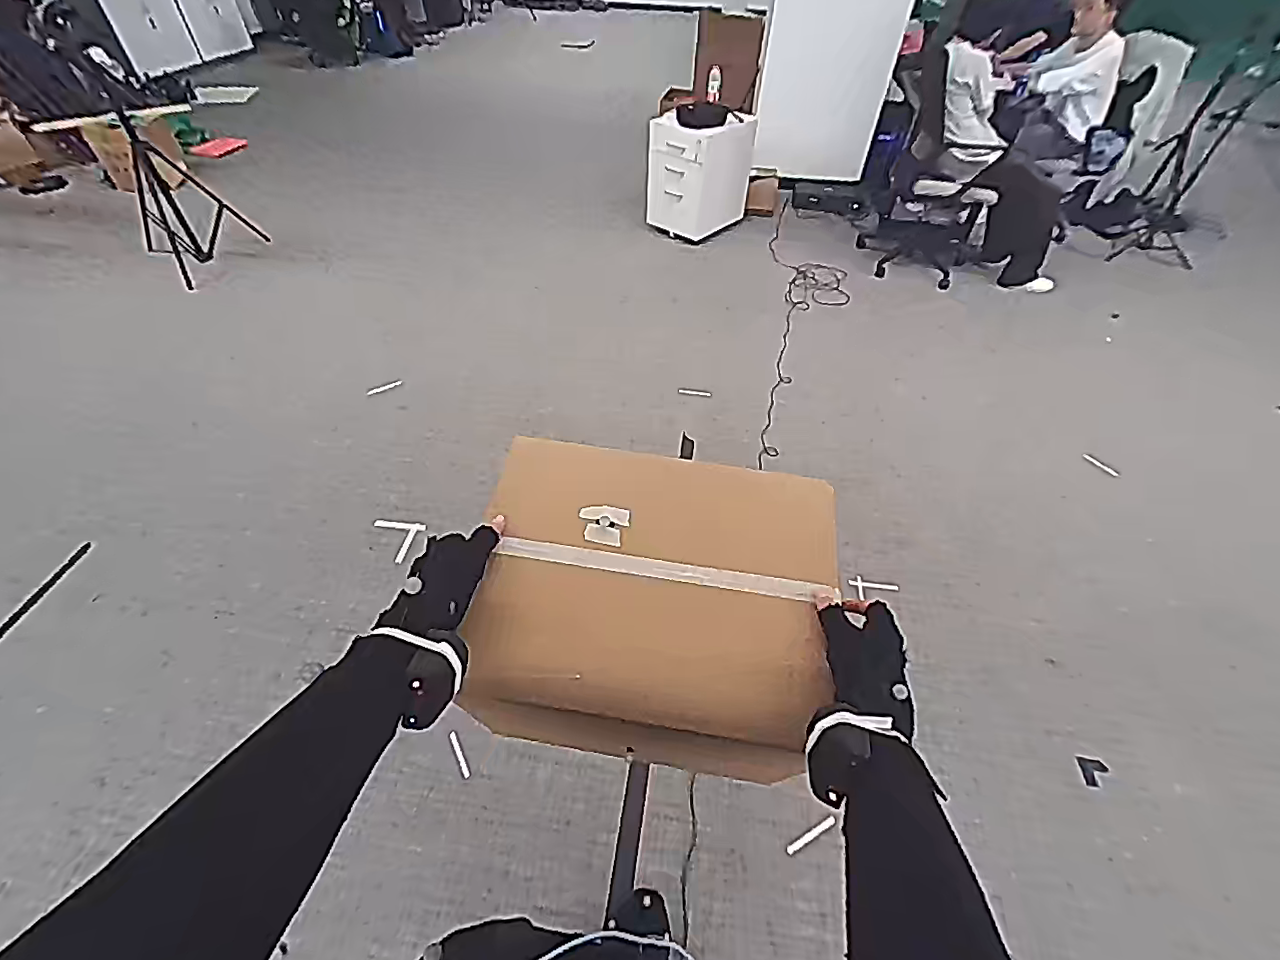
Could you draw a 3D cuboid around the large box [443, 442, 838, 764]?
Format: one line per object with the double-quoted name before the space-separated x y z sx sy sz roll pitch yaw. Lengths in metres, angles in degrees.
"large box" 0.015 0.180 0.737 0.408 0.320 0.320 8 57 4
